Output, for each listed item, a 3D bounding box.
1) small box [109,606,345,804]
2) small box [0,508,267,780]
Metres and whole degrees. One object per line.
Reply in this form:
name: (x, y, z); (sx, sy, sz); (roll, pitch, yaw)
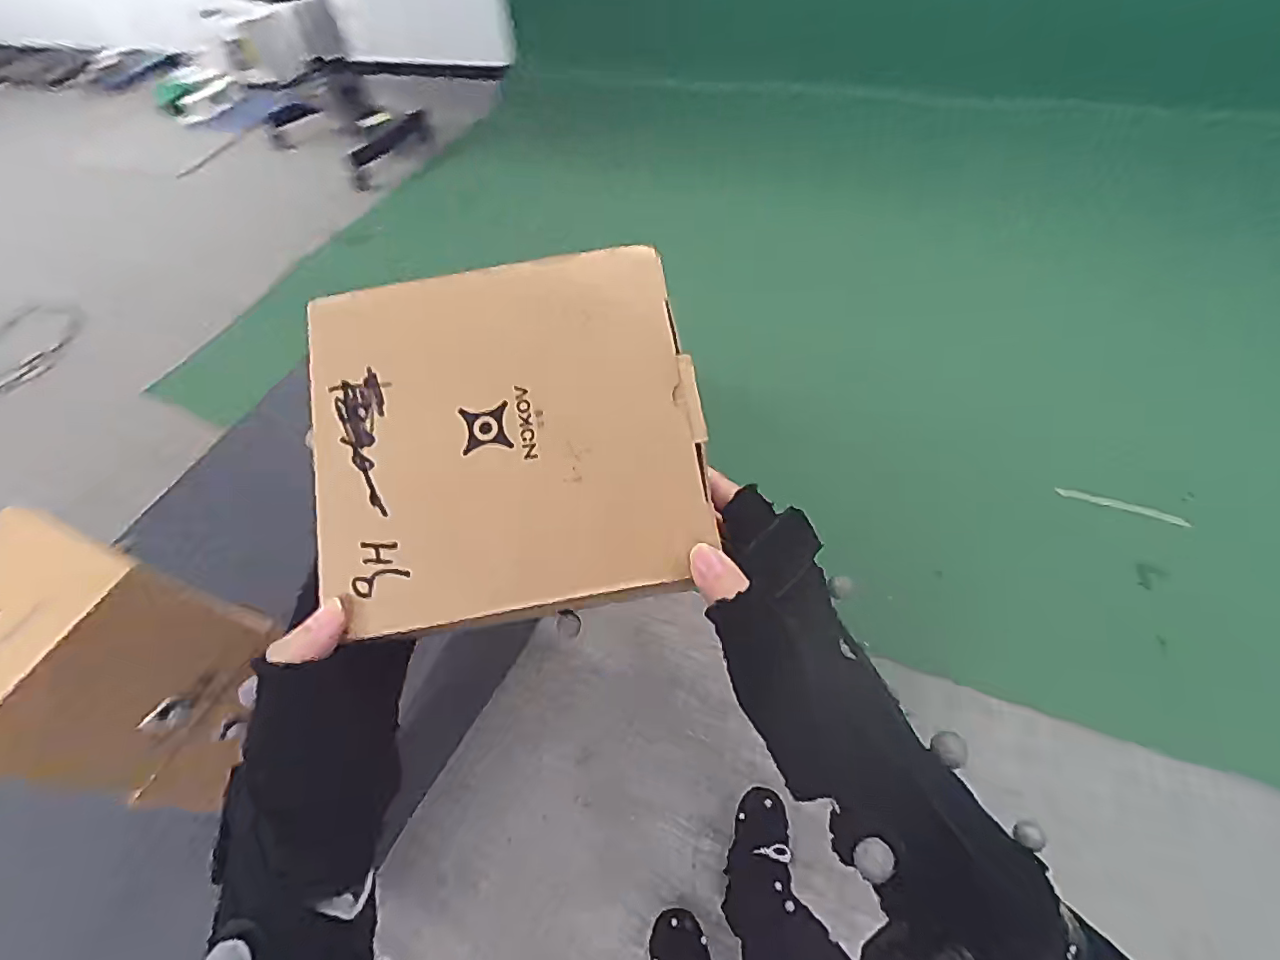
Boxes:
small box: (-0.488, 0.248, 0.623); (0.168, 0.176, 0.179); (14, 58, 16)
small box: (-0.506, 0.154, 0.493); (0.179, 0.176, 0.168); (16, 60, 16)
